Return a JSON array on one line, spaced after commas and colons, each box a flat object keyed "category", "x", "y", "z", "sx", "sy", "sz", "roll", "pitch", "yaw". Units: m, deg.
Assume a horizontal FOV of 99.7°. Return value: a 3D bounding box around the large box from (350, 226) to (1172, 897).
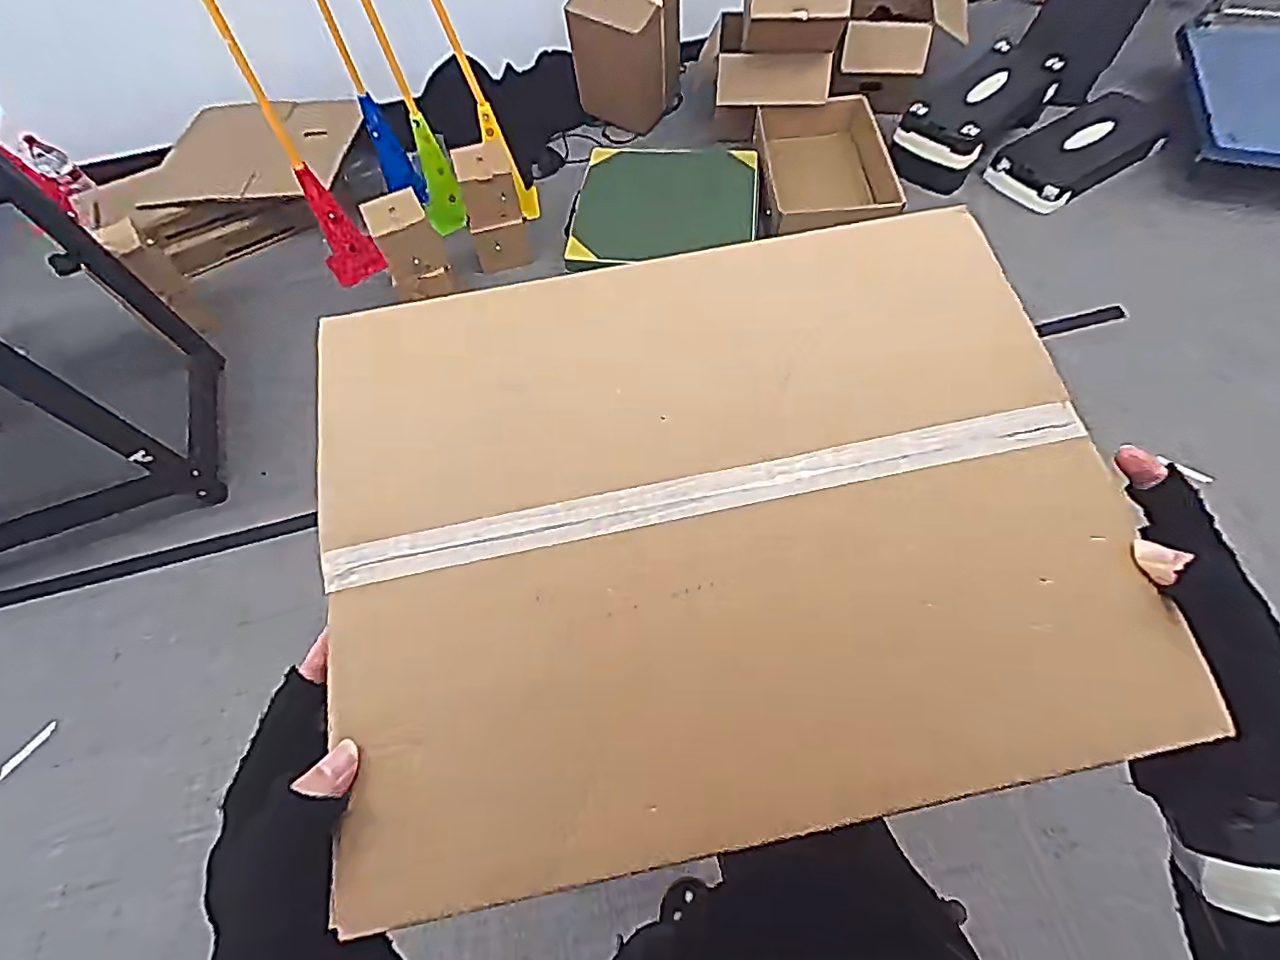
[{"category": "large box", "x": 0.042, "y": 0.059, "z": 0.445, "sx": 0.408, "sy": 0.320, "sz": 0.320, "roll": -12, "pitch": 72, "yaw": -3}]
